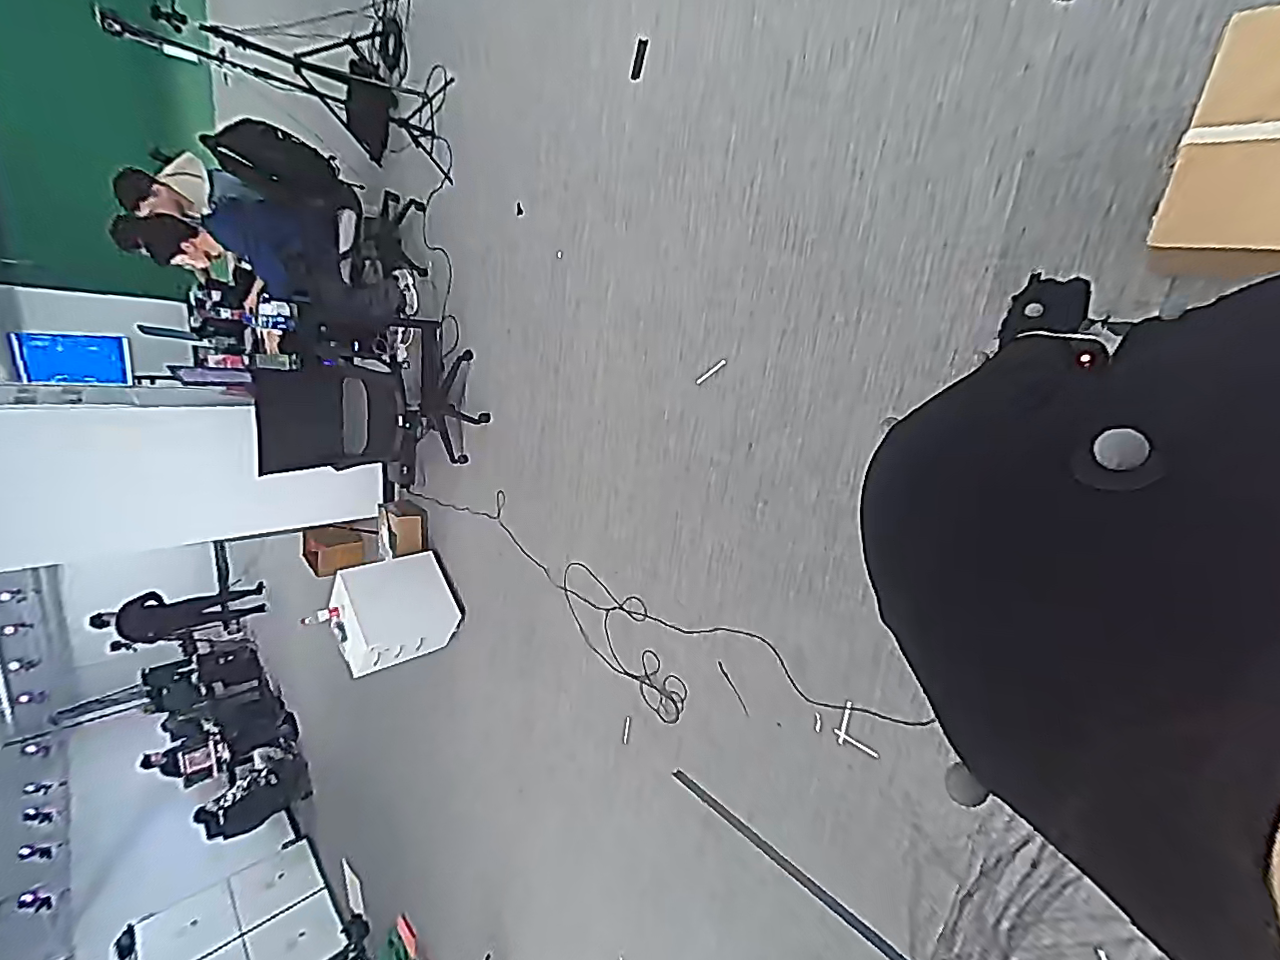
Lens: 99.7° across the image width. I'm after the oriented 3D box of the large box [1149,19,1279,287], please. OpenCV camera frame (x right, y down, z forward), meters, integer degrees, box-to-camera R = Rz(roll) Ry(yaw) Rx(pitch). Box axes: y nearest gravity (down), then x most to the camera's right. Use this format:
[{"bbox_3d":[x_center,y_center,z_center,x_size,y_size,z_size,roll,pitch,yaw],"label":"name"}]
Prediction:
[{"bbox_3d":[1.076,-0.469,0.806,0.408,0.320,0.320,23,113,39],"label":"large box"}]
